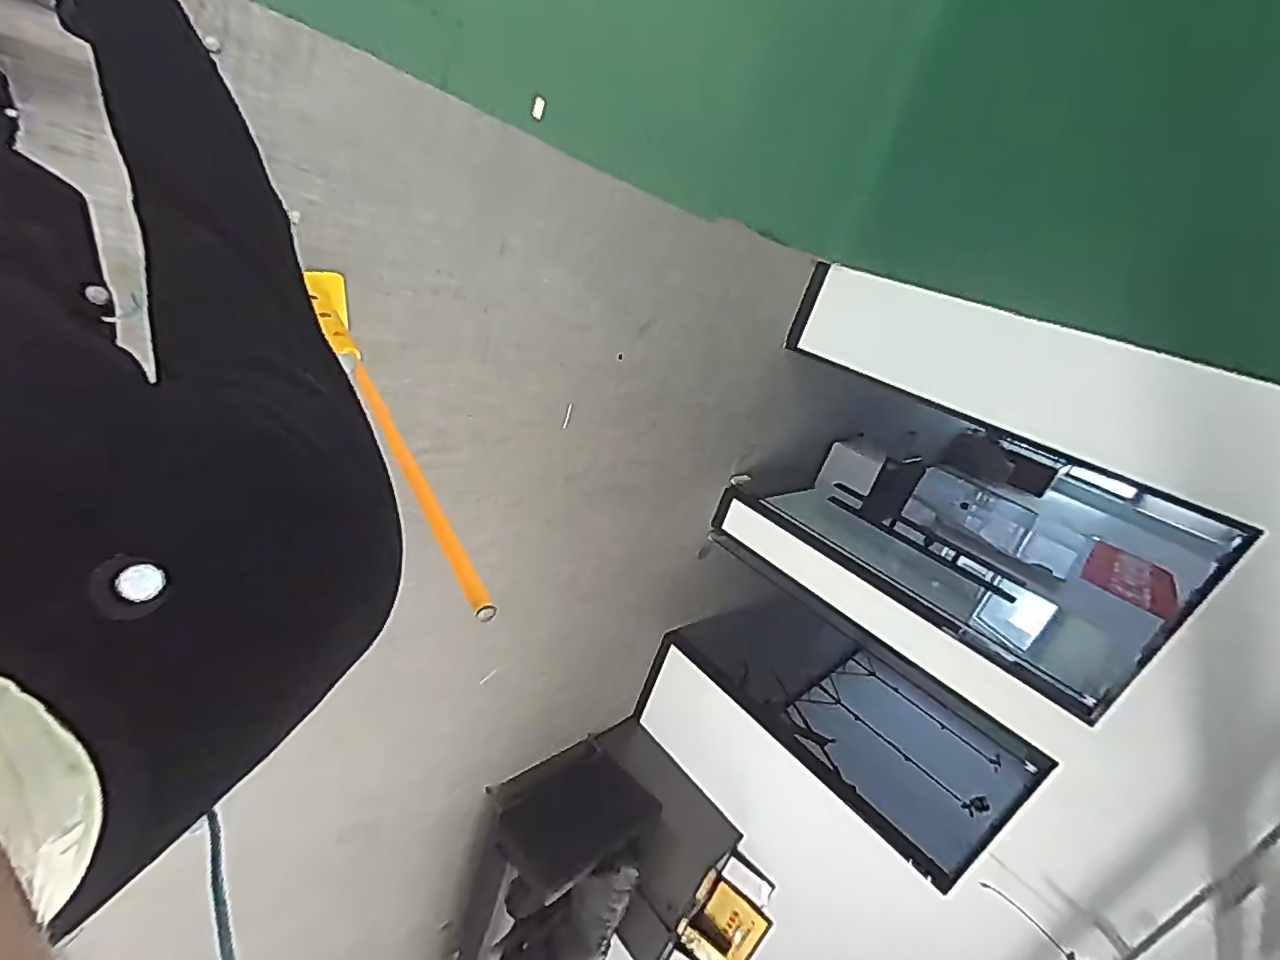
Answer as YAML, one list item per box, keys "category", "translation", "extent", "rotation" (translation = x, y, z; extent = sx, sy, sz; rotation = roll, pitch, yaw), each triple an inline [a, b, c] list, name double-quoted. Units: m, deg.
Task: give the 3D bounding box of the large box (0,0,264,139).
- category: "large box"
  translation: [-0.427, -0.342, 0.162]
  extent: [0.408, 0.320, 0.320]
  rotation: [-75, 165, -73]
